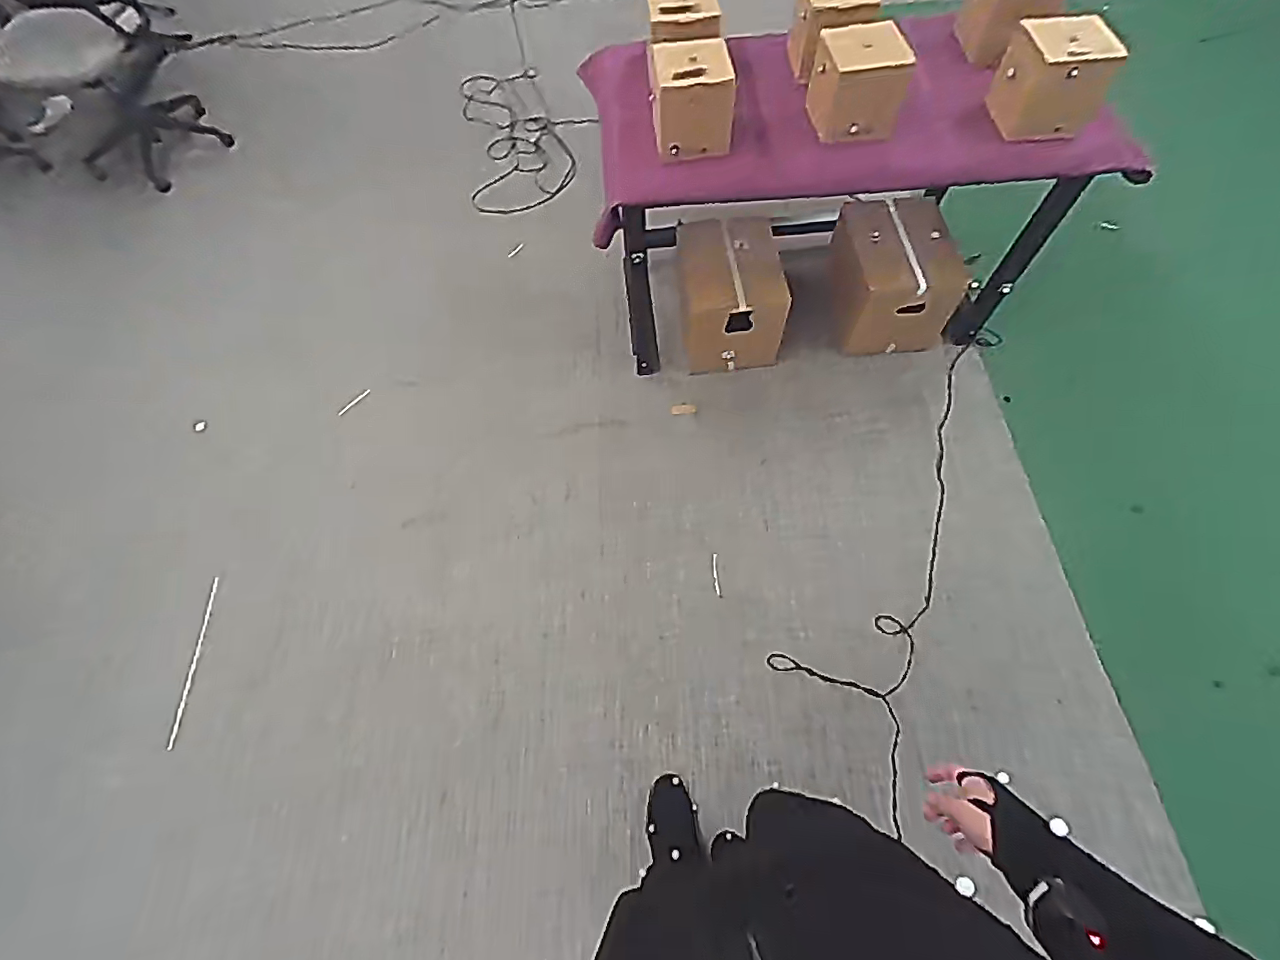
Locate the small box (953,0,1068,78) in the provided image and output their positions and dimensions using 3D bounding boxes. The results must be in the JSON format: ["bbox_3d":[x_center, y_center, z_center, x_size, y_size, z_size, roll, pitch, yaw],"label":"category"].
[{"bbox_3d":[0.935,-1.172,1.382,0.168,0.176,0.179,-4,64,4],"label":"small box"}]

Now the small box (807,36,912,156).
[{"bbox_3d":[0.506,-0.903,1.278,0.168,0.176,0.179,-6,63,1],"label":"small box"}]

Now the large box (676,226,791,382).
[{"bbox_3d":[0.304,-0.603,1.879,0.320,0.320,0.408,-6,62,0],"label":"large box"}]

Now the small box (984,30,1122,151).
[{"bbox_3d":[0.931,-0.891,1.242,0.168,0.176,0.179,-3,61,4],"label":"small box"}]

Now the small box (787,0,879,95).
[{"bbox_3d":[0.489,-1.135,1.397,0.168,0.176,0.179,-4,64,1],"label":"small box"}]

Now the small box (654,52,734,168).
[{"bbox_3d":[0.124,-0.866,1.280,0.168,0.176,0.179,-6,62,0],"label":"small box"}]
